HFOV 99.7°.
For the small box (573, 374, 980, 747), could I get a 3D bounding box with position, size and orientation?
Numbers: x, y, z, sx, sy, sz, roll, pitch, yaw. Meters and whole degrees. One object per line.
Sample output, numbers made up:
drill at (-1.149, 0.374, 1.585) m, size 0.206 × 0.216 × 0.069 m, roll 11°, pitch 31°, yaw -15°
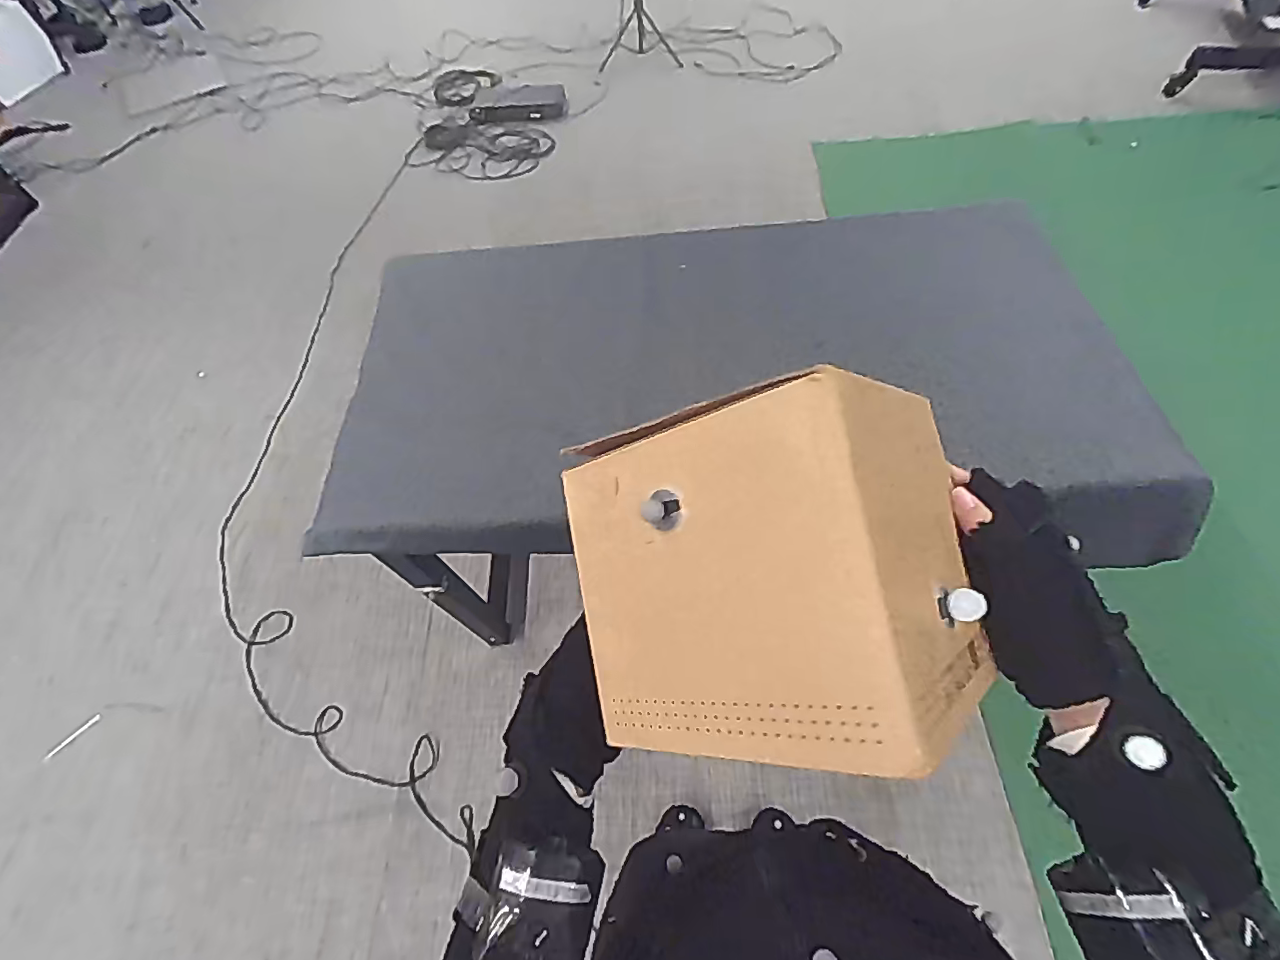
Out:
small box at (0.083, 0.054, 0.343) m, size 0.179 × 0.168 × 0.176 m, roll -18°, pitch 78°, yaw 39°
